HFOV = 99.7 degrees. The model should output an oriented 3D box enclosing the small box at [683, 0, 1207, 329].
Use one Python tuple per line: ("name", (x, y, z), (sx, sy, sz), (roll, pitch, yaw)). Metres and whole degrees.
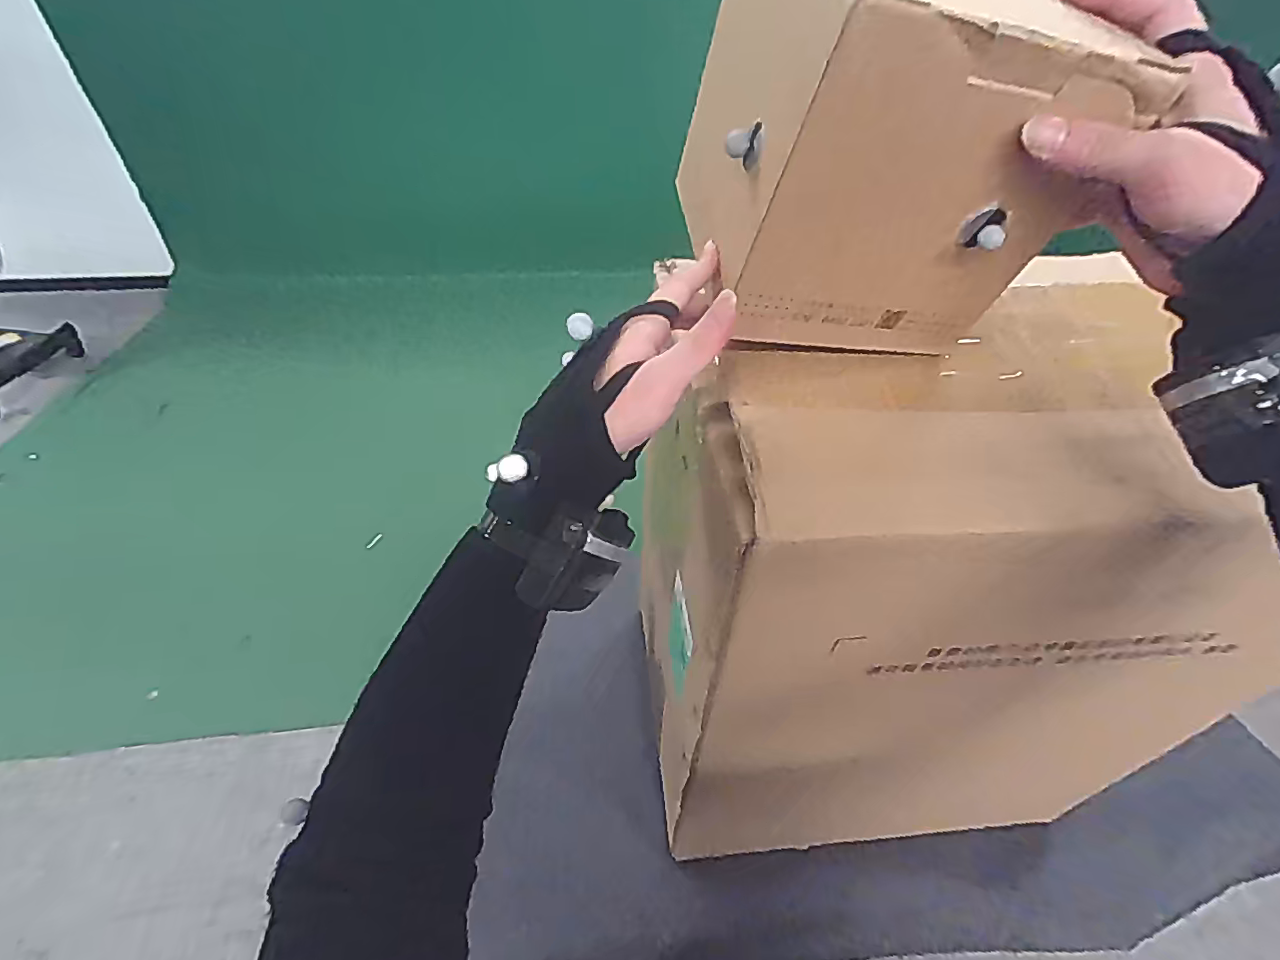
("small box", (0.136, -0.212, 0.320), (0.168, 0.176, 0.179), (2, 54, -15))
